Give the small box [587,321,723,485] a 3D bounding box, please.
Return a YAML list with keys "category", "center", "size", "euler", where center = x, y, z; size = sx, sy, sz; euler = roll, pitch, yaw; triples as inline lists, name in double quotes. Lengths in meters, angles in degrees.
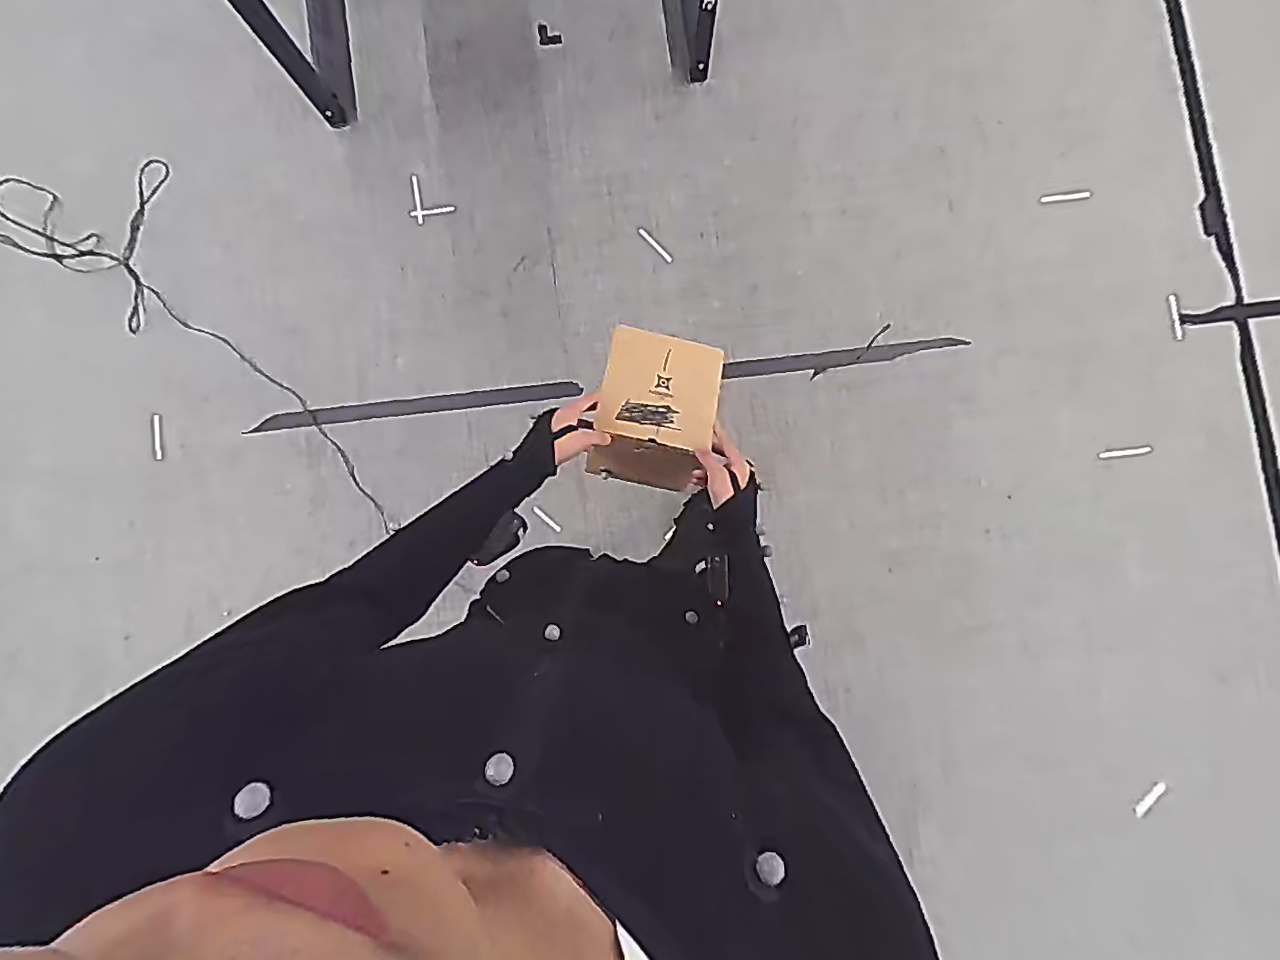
- category: "small box"
  center: [0.016, -0.107, 0.827]
  size: [0.168, 0.176, 0.179]
  euler: [12, 69, -6]
